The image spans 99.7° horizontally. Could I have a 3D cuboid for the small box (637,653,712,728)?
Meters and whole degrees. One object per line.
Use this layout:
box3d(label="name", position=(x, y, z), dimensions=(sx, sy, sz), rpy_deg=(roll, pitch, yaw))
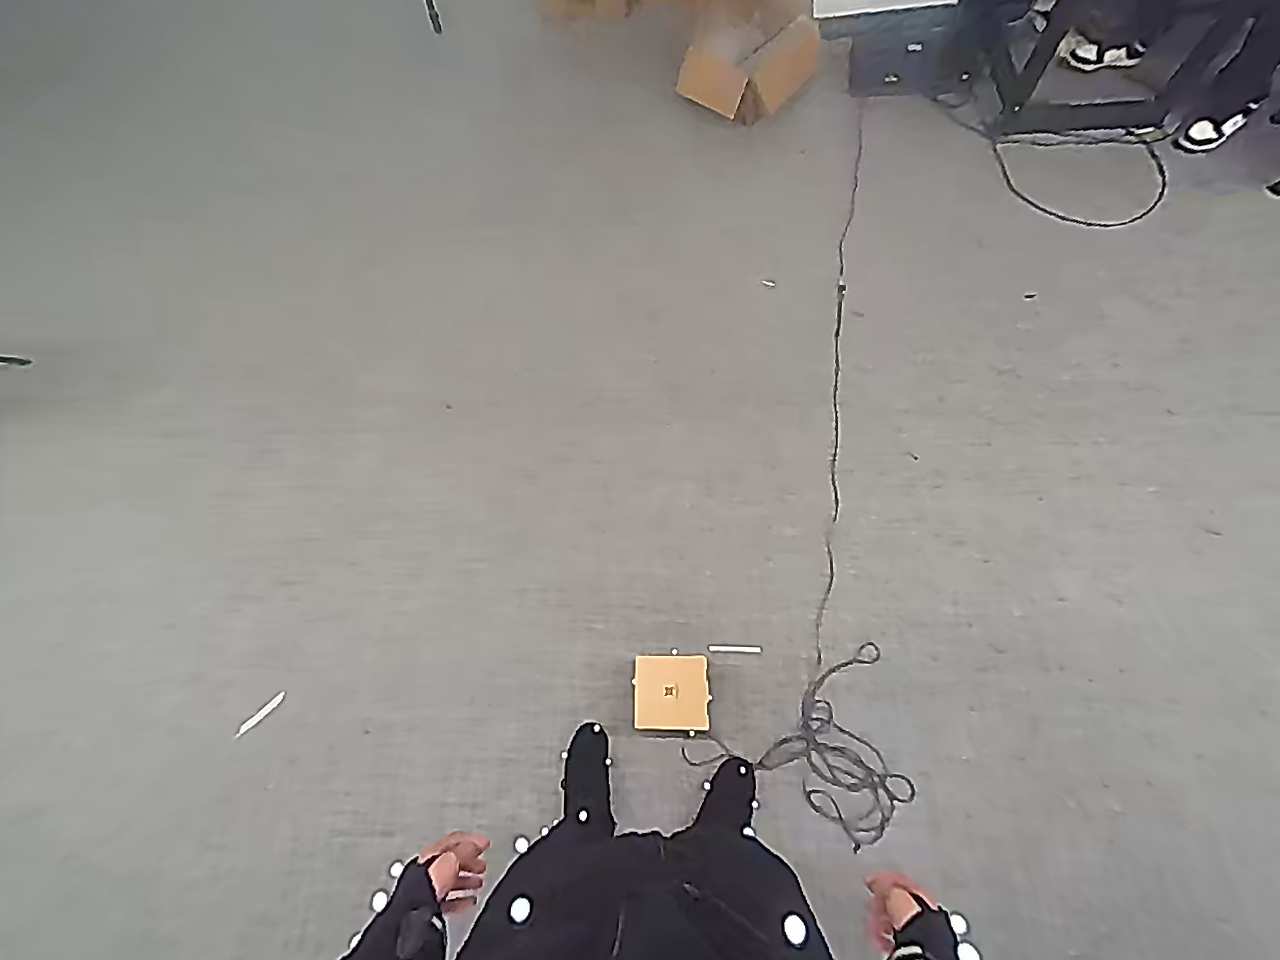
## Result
box3d(label="small box", position=(0.089, 0.524, 1.347), dimensions=(0.179, 0.176, 0.168), rpy_deg=(-1, 69, 5))
